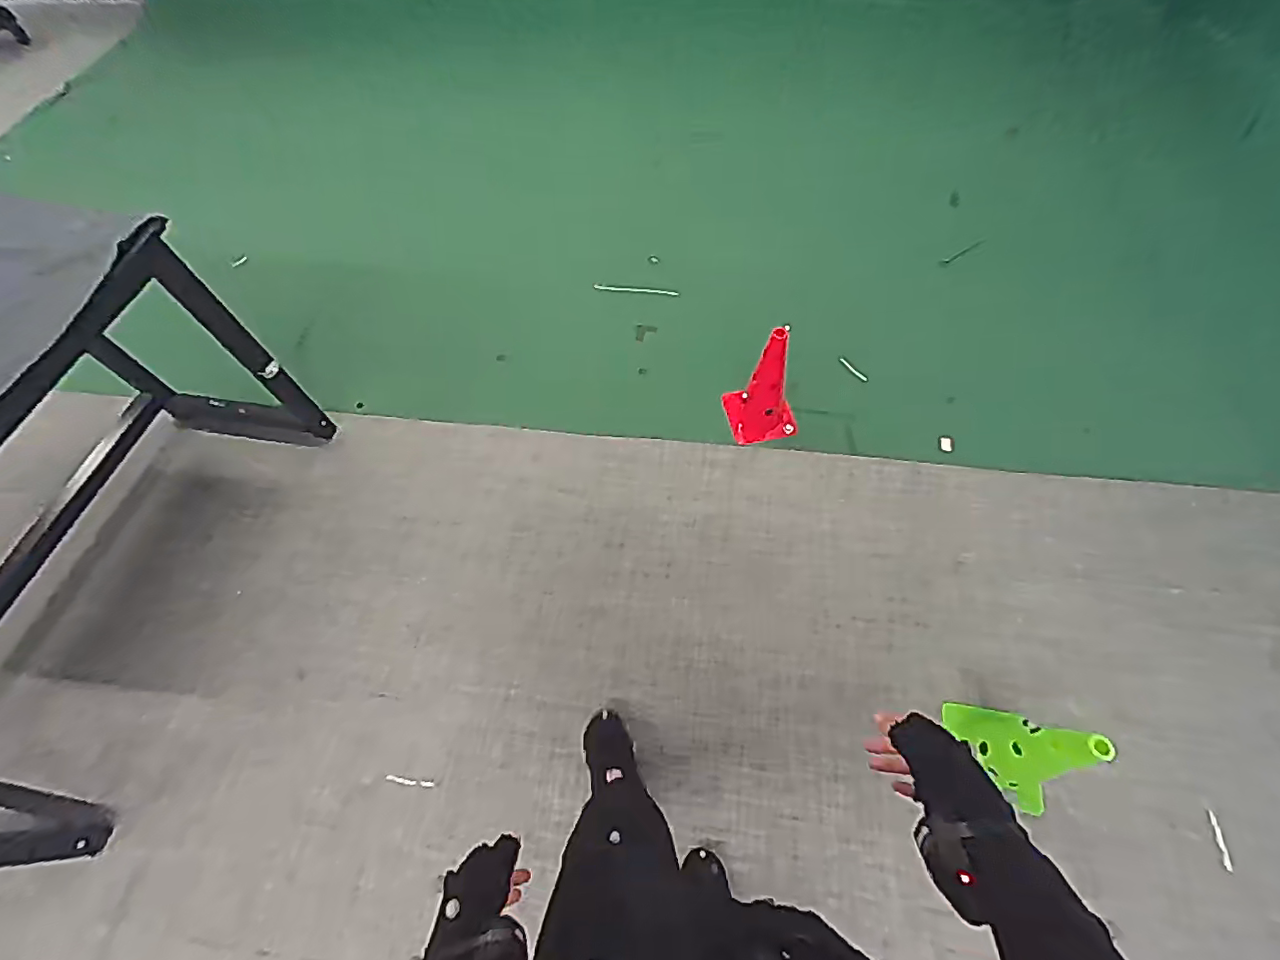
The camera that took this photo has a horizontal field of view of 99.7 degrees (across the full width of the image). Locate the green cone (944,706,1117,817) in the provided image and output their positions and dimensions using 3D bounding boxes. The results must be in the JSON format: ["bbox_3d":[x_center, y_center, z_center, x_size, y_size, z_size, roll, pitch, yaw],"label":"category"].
[{"bbox_3d":[0.788,0.544,1.069,0.200,0.368,0.202,8,61,7],"label":"green cone"}]
